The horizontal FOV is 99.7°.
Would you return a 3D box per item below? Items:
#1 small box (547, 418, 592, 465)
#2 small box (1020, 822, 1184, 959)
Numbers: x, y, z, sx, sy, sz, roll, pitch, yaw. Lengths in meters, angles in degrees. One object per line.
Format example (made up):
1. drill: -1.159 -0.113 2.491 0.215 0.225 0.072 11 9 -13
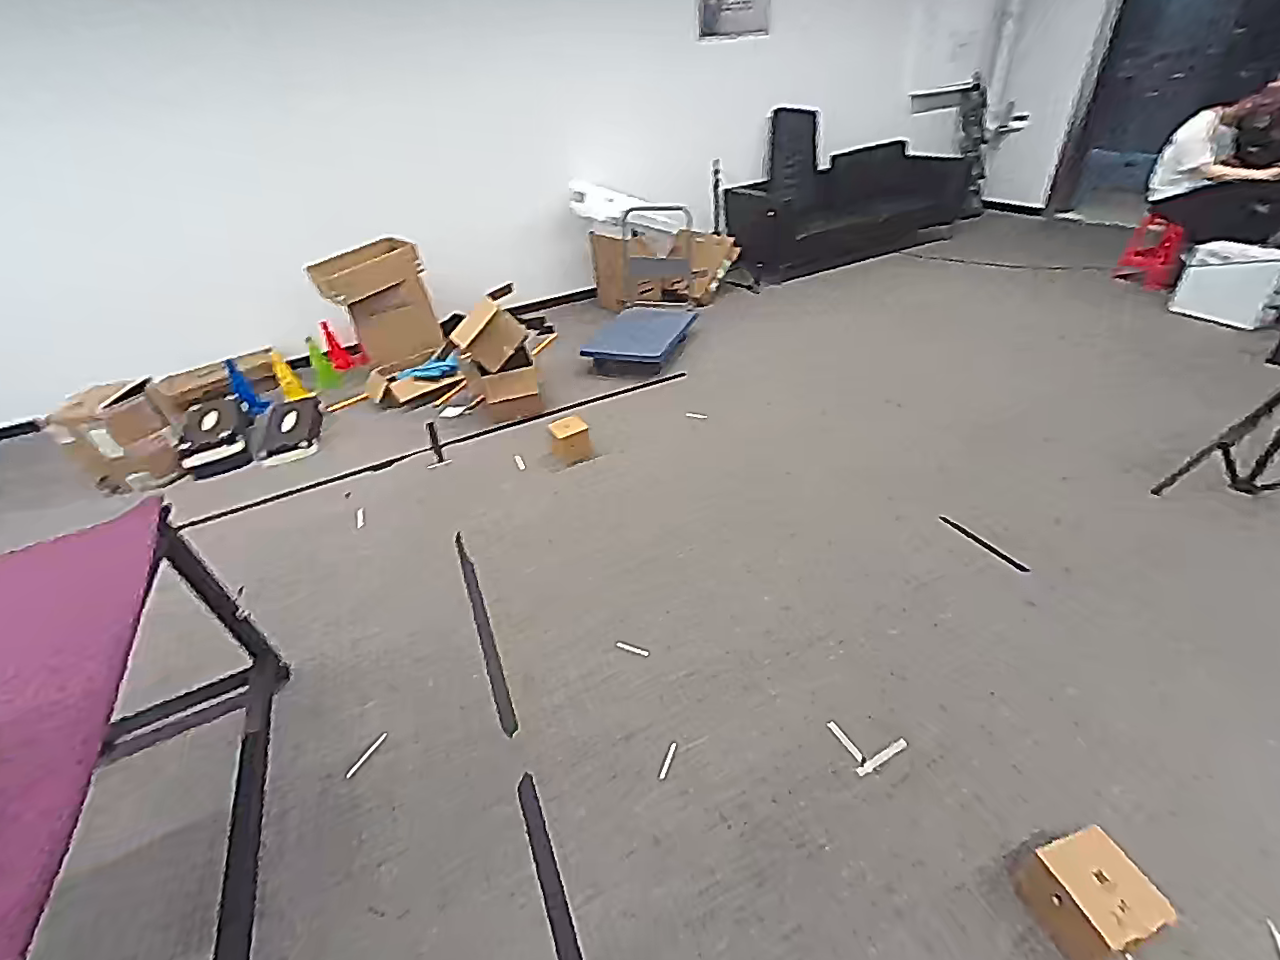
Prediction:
1. small box: -0.366 -0.196 2.830 0.168 0.176 0.179 -25 39 -22
2. small box: 0.947 0.866 1.130 0.168 0.176 0.179 -15 37 -9
